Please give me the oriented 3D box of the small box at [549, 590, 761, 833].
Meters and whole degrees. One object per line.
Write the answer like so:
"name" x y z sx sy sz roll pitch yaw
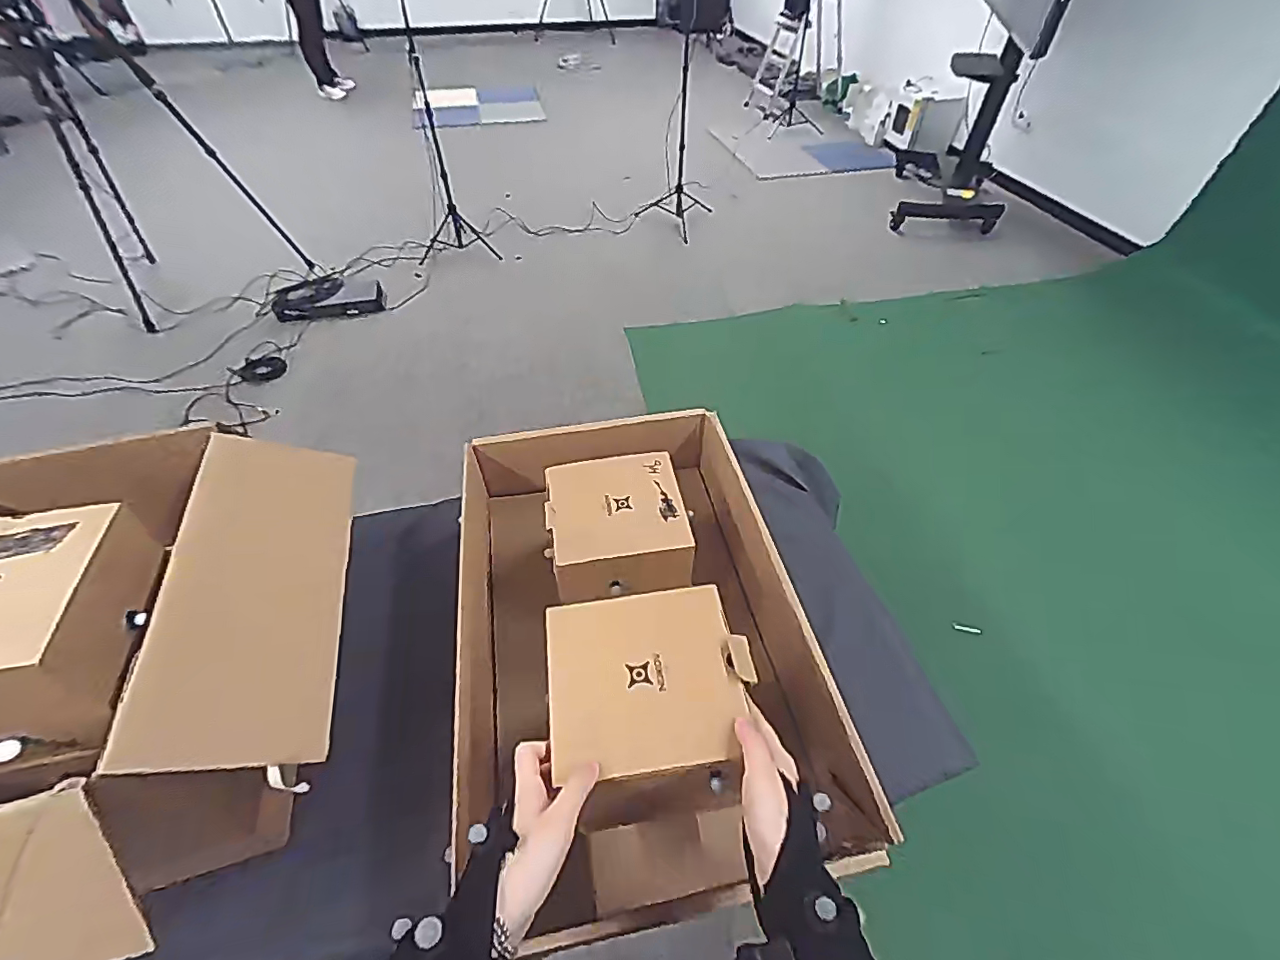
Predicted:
"small box" 0.009 0.237 0.551 0.179 0.176 0.168 -7 46 -5
